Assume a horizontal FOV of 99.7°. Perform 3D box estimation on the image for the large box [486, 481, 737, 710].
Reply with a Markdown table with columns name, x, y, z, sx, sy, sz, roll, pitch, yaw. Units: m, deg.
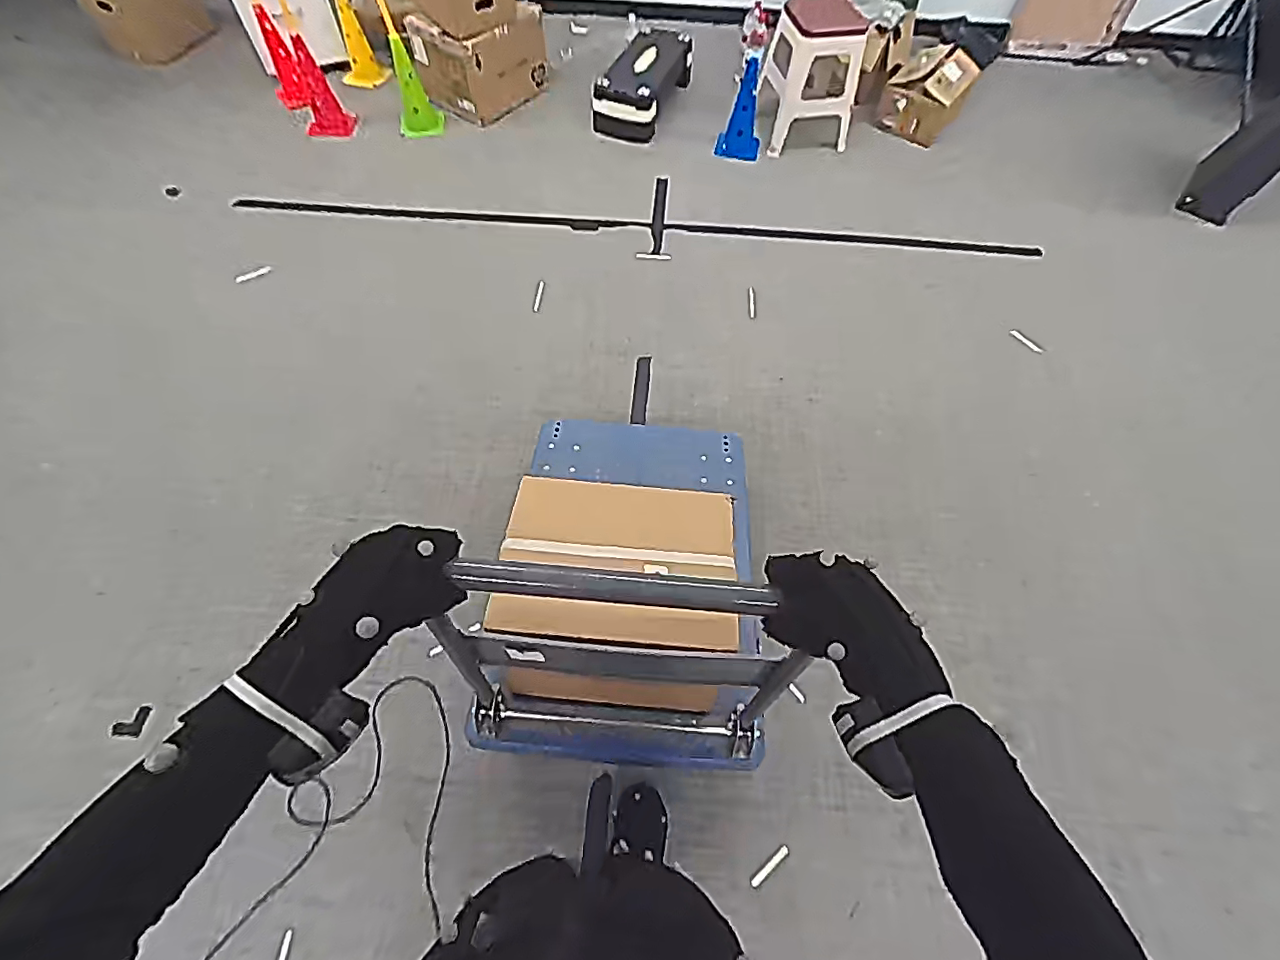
| name | x | y | z | sx | sy | sz | roll | pitch | yaw |
| --- | --- | --- | --- | --- | --- | --- | --- | --- | --- |
| large box | -0.047 | 0.229 | 1.048 | 0.408 | 0.320 | 0.320 | 6 | 51 | 0 |
